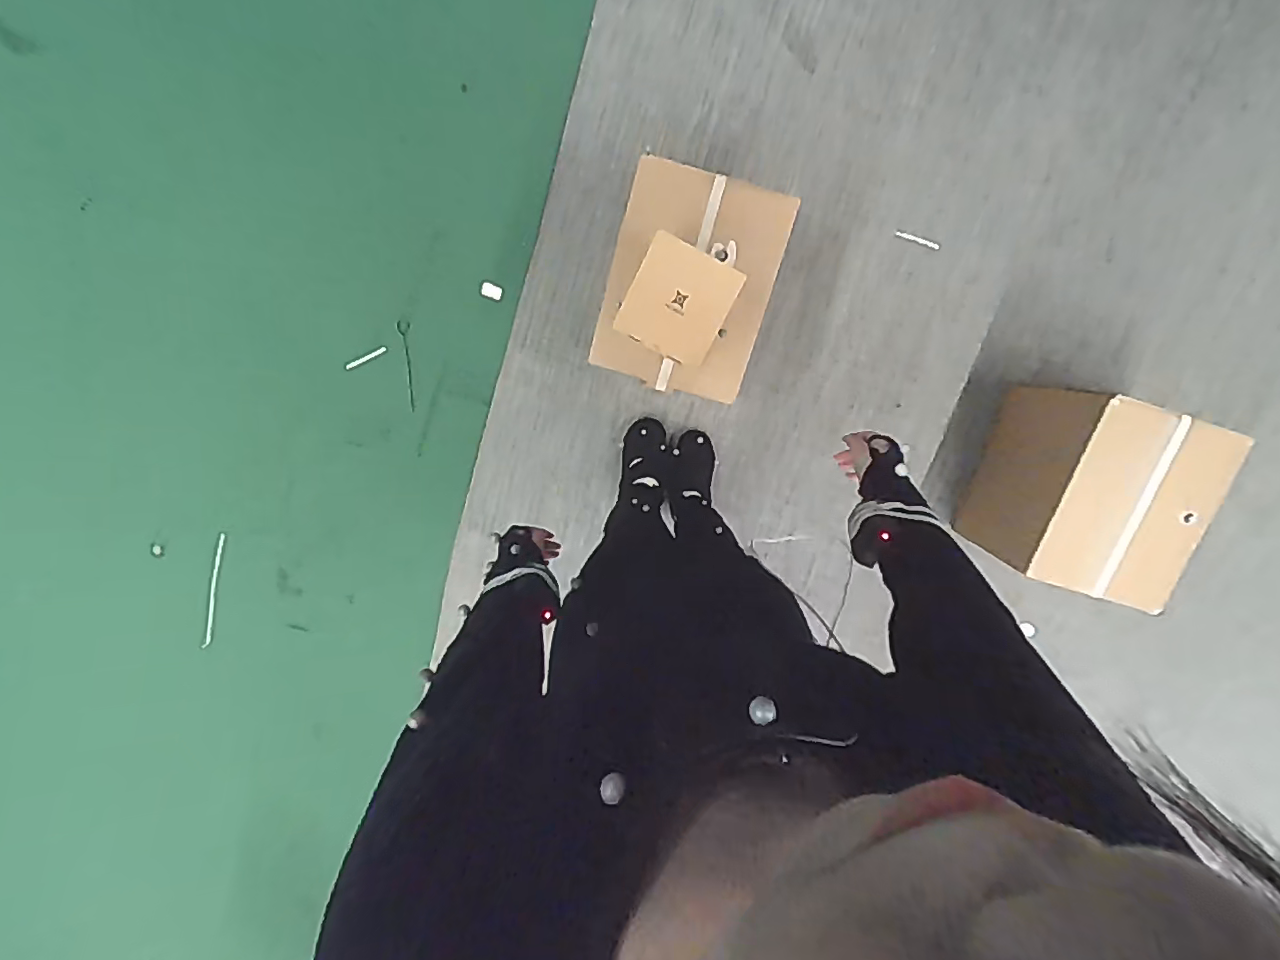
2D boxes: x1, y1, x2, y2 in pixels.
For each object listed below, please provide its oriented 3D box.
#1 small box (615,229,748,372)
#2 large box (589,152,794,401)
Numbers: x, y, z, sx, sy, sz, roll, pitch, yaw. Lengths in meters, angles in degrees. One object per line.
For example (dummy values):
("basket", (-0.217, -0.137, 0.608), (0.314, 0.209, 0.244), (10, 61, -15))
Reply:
("small box", (0.069, -0.311, 0.966), (0.168, 0.176, 0.179), (27, 104, -3))
("large box", (0.099, -0.414, 1.192), (0.320, 0.320, 0.408), (16, 103, -2))
